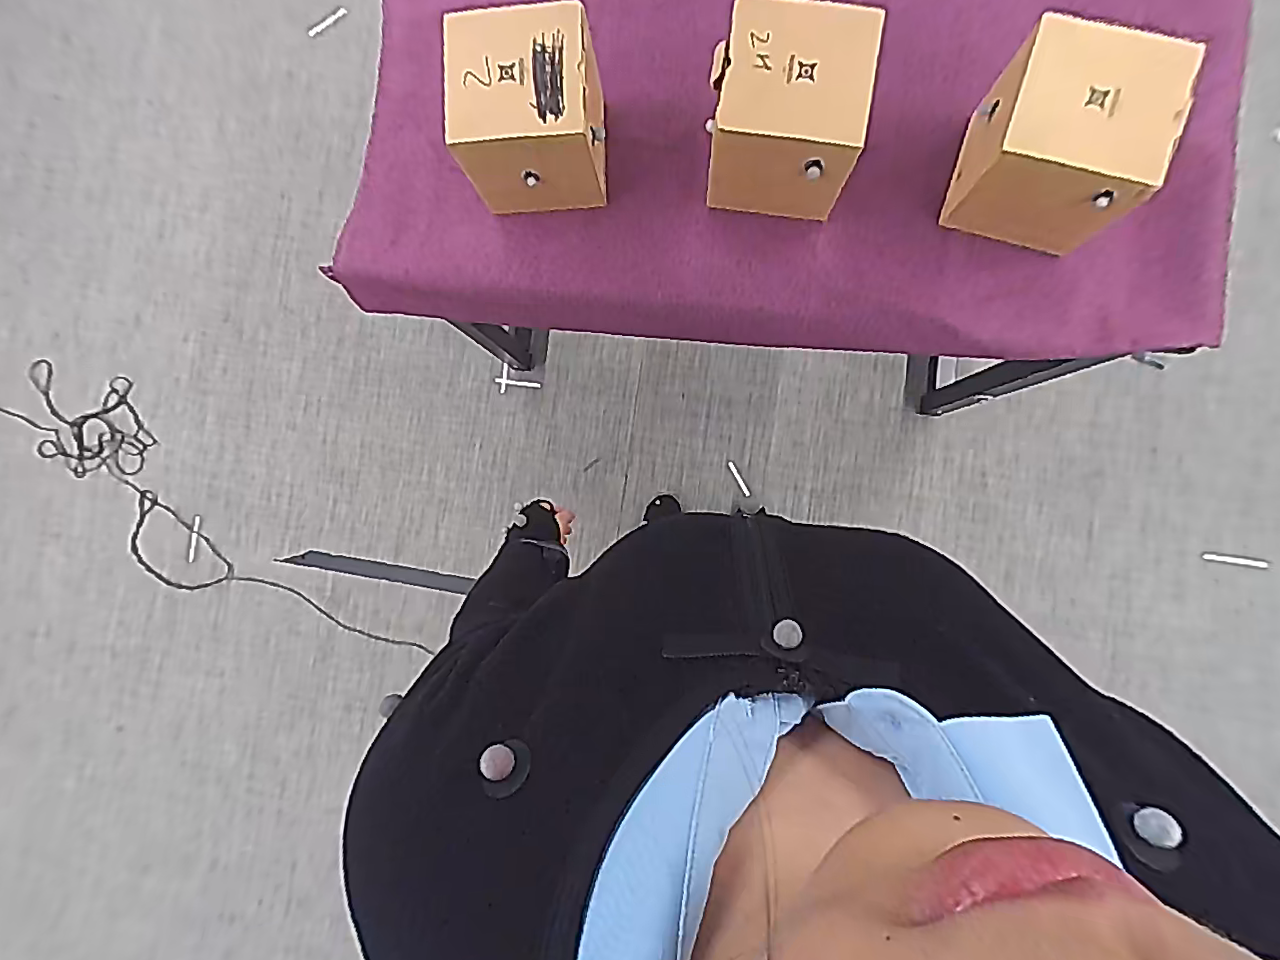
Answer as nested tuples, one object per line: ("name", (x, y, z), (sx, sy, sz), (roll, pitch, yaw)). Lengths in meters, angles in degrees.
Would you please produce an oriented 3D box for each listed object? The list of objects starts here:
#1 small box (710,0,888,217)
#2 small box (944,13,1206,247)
("small box", (0.193, -0.469, 0.705), (0.179, 0.176, 0.168), (9, 88, 5))
("small box", (0.518, -0.419, 0.675), (0.179, 0.176, 0.168), (17, 90, 5))
